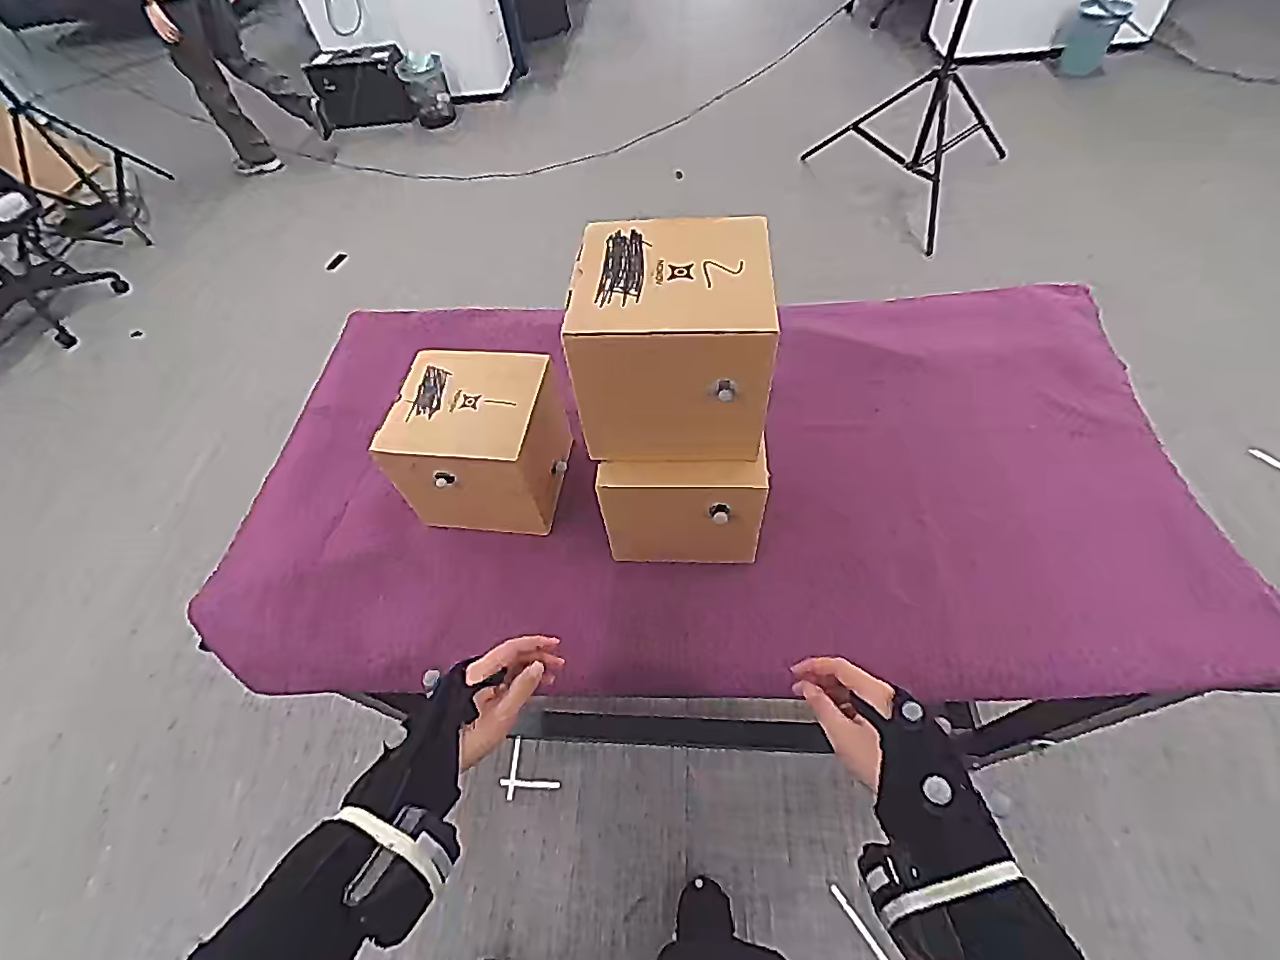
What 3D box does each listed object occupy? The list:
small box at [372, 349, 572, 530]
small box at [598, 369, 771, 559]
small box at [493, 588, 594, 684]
[{"bbox_3d":[-0.199,-0.049,0.700,0.179,0.176,0.168,4,56,7],"label":"small box"},{"bbox_3d":[0.054,-0.014,0.652,0.179,0.176,0.168,0,54,6],"label":"small box"},{"bbox_3d":[-0.200,0.345,1.186,0.179,0.176,0.168,-1,57,5],"label":"small box"}]
